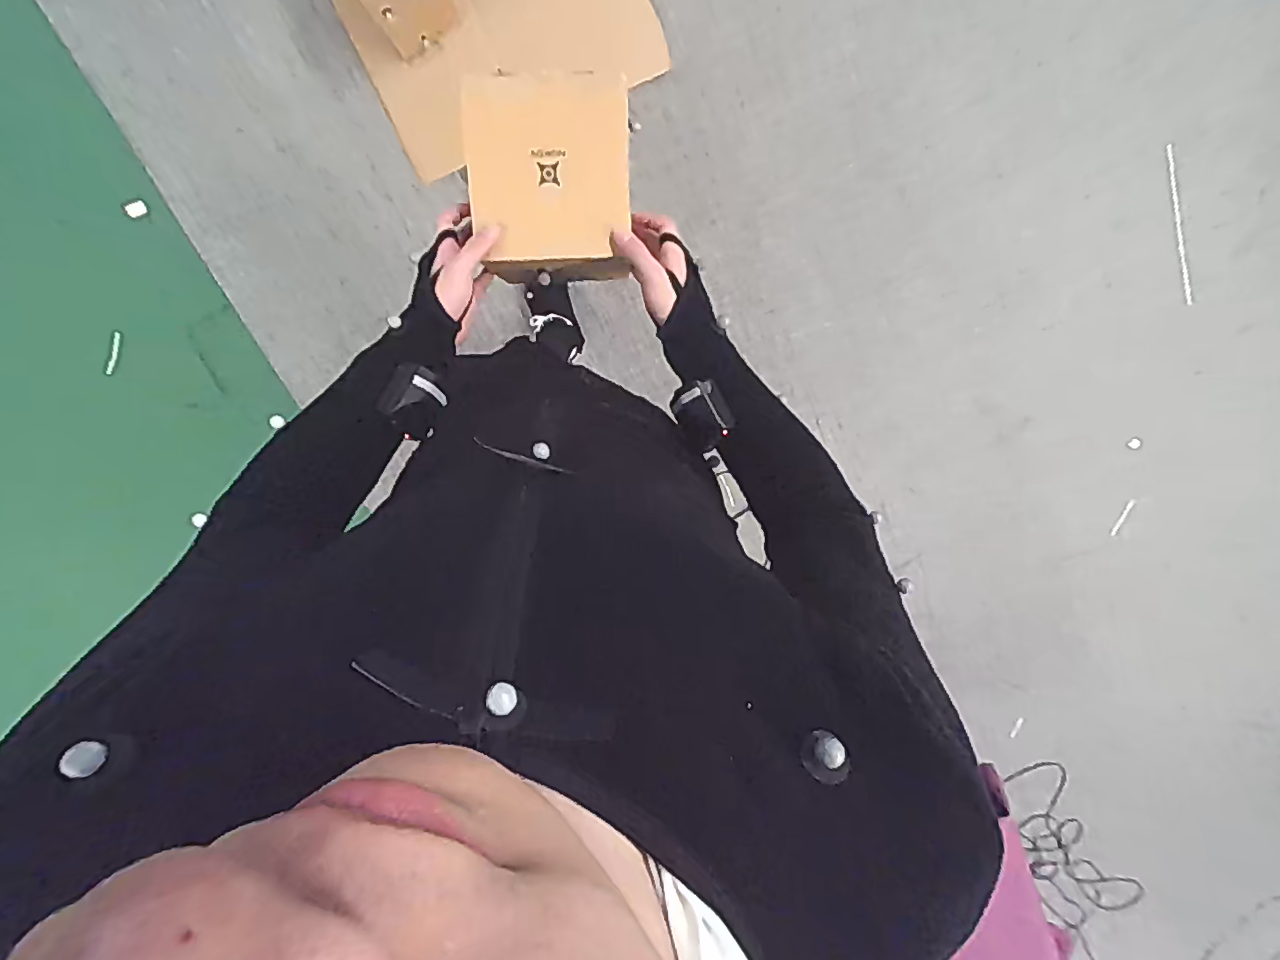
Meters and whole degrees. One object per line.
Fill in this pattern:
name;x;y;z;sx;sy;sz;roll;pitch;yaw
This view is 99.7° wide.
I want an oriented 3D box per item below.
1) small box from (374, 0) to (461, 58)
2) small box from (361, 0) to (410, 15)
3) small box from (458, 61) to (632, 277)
small box;-0.520;-1.078;1.172;0.168;0.176;0.179;-31;108;4
small box;-0.505;-1.031;1.016;0.168;0.176;0.179;-28;107;3
small box;-0.093;-0.333;0.617;0.168;0.176;0.179;-2;101;-1
